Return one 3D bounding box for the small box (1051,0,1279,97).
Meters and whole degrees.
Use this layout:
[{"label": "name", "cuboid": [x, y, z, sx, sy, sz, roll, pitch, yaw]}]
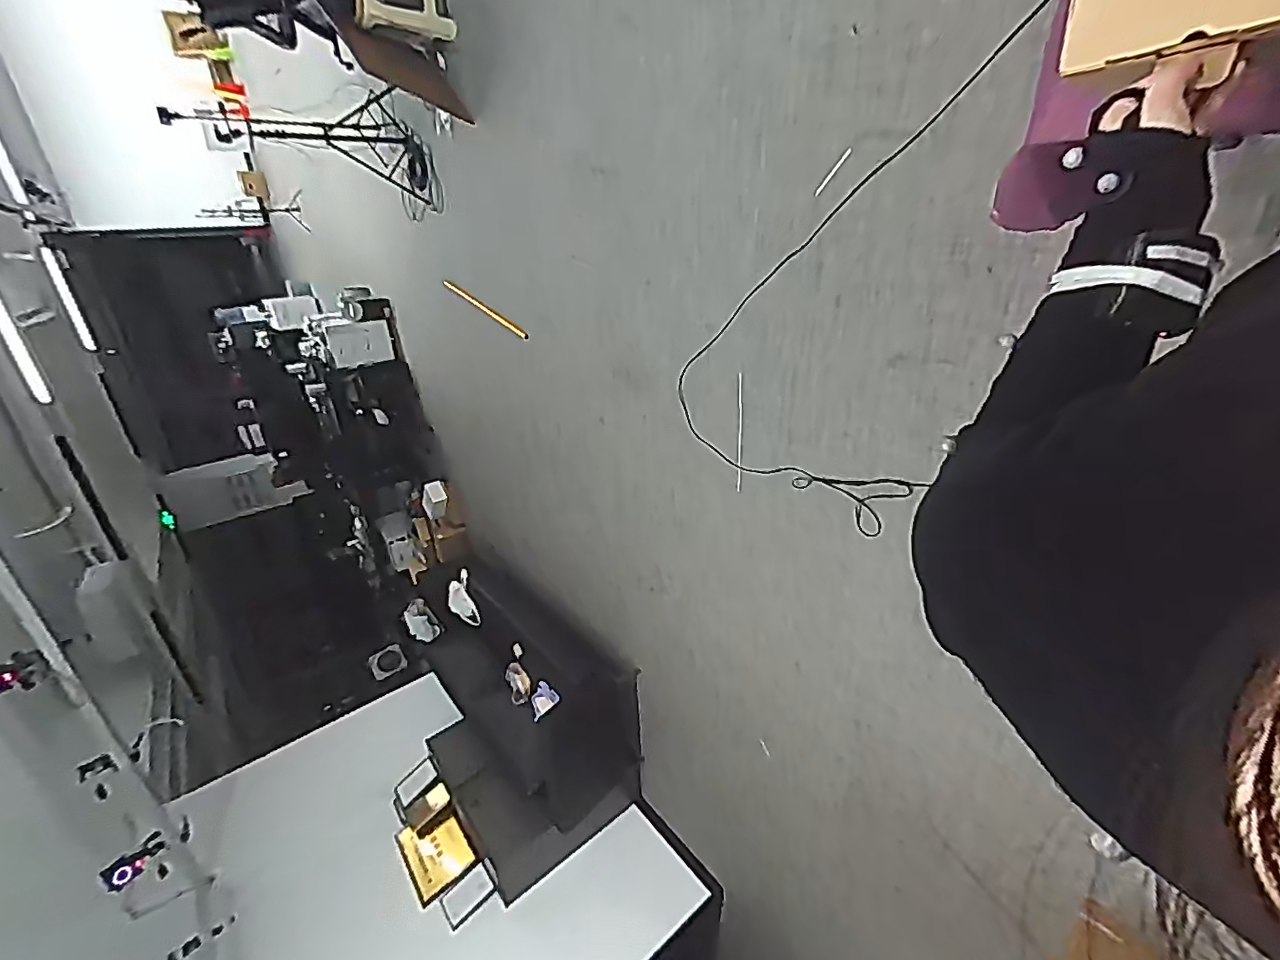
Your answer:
[{"label": "small box", "cuboid": [0.455, -0.416, 0.415, 0.168, 0.176, 0.179, 20, 123, 44]}]
